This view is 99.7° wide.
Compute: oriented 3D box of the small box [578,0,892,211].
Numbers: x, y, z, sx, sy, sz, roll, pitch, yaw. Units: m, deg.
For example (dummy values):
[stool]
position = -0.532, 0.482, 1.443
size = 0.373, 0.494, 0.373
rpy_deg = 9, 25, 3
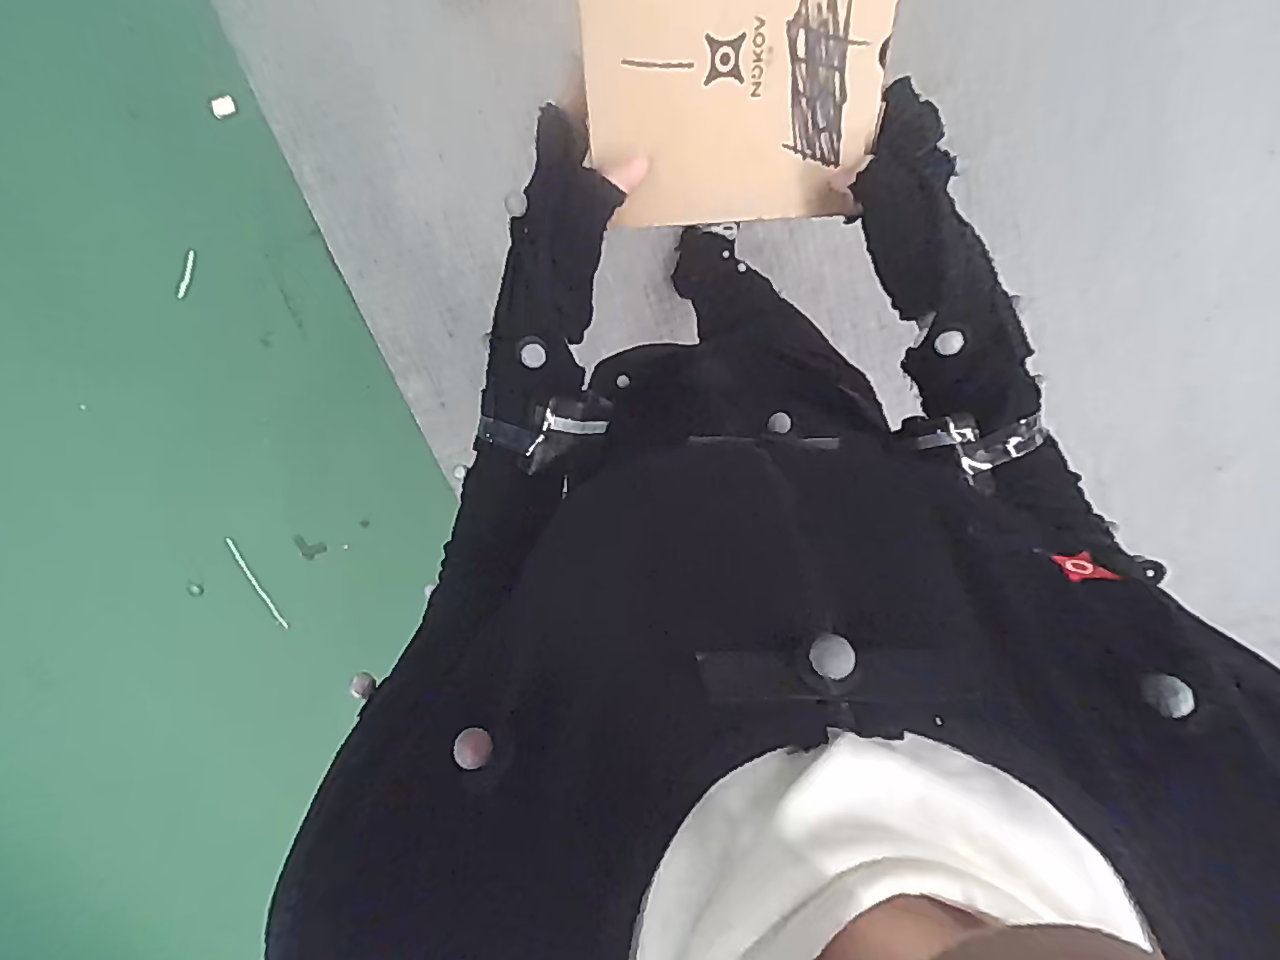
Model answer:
[small box]
position = 0.049, -0.292, 0.370
size = 0.179, 0.176, 0.168
rpy_deg = -4, 125, -1
